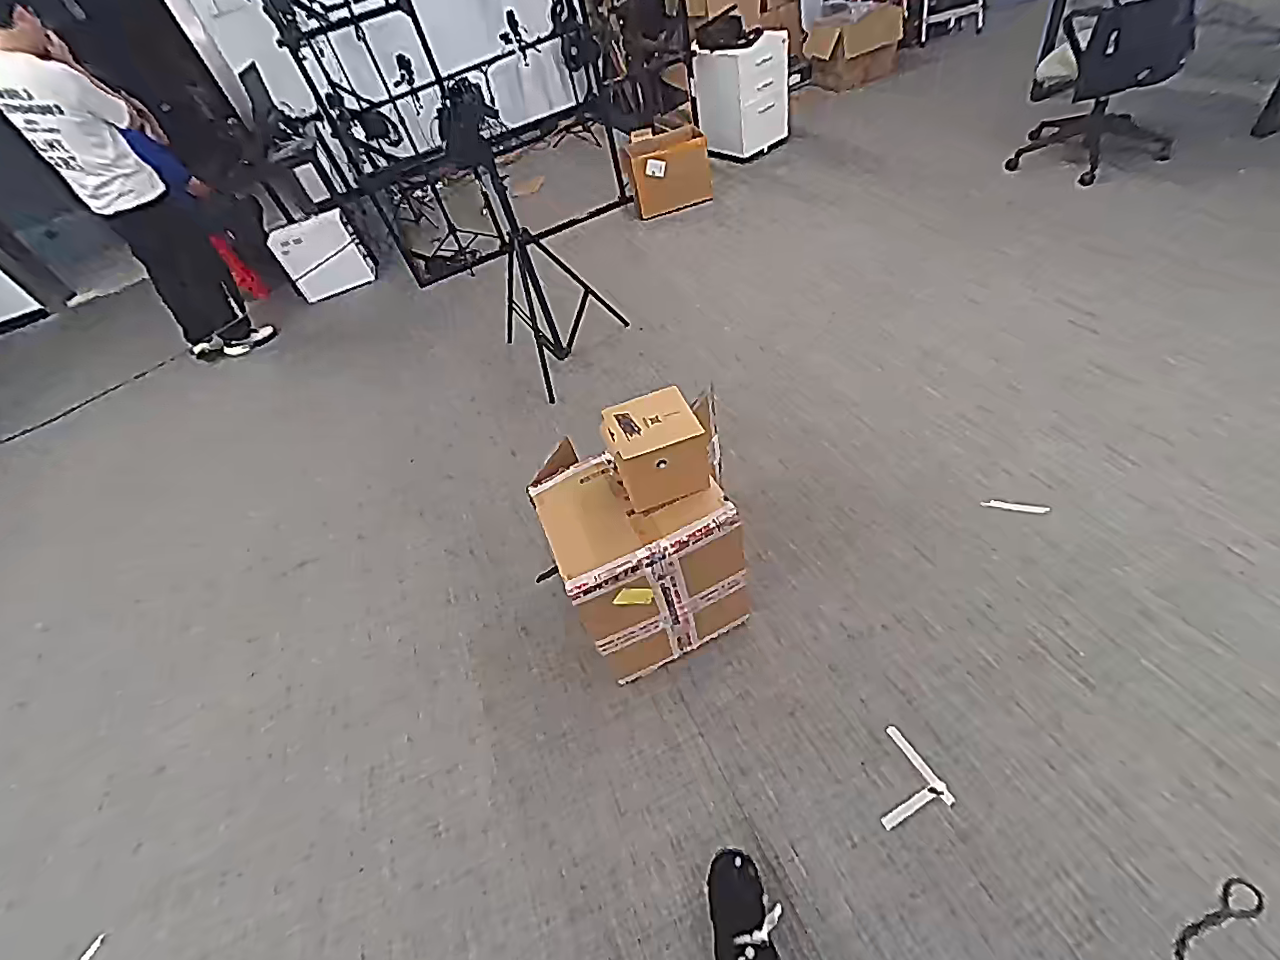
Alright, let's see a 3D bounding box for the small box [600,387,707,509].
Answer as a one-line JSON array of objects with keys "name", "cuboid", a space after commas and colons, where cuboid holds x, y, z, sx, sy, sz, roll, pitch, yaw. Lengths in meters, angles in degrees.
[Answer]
[{"name": "small box", "cuboid": [0.032, -0.064, 1.158, 0.179, 0.176, 0.168, -20, 48, -6]}]
